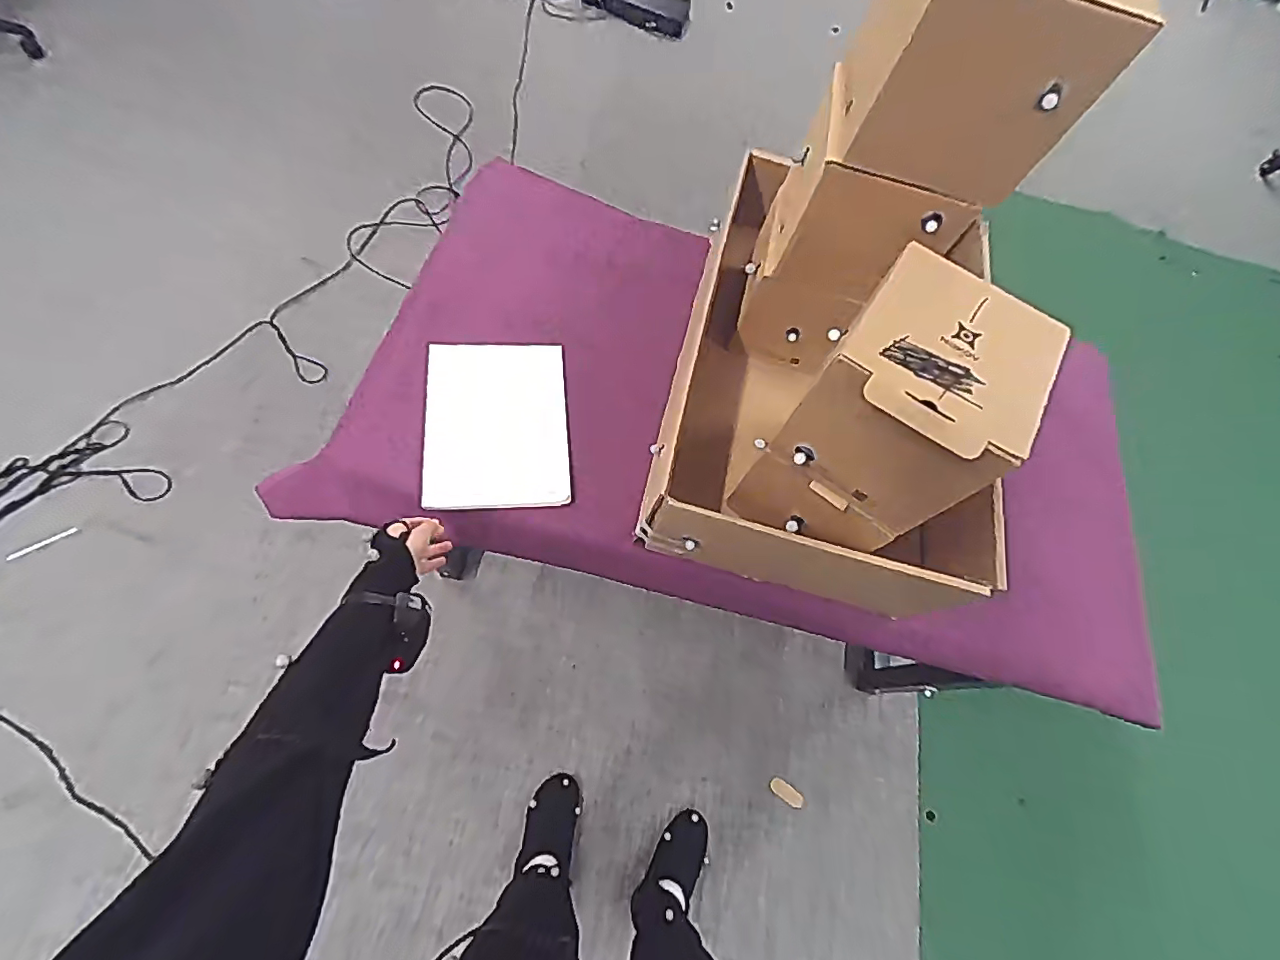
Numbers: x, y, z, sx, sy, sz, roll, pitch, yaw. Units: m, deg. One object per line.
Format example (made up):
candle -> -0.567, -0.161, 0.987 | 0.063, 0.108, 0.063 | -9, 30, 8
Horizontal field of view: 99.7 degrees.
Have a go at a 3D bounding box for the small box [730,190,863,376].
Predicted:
small box -> 0.243, -0.282, 0.804 | 0.168, 0.176, 0.179 | 16, 67, -2

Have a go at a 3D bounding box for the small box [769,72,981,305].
small box -> 0.270, -0.339, 0.655 | 0.179, 0.176, 0.168 | 14, 67, -3

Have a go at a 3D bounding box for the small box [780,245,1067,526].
small box -> 0.261, -0.083, 0.535 | 0.168, 0.176, 0.179 | 34, 64, 8
